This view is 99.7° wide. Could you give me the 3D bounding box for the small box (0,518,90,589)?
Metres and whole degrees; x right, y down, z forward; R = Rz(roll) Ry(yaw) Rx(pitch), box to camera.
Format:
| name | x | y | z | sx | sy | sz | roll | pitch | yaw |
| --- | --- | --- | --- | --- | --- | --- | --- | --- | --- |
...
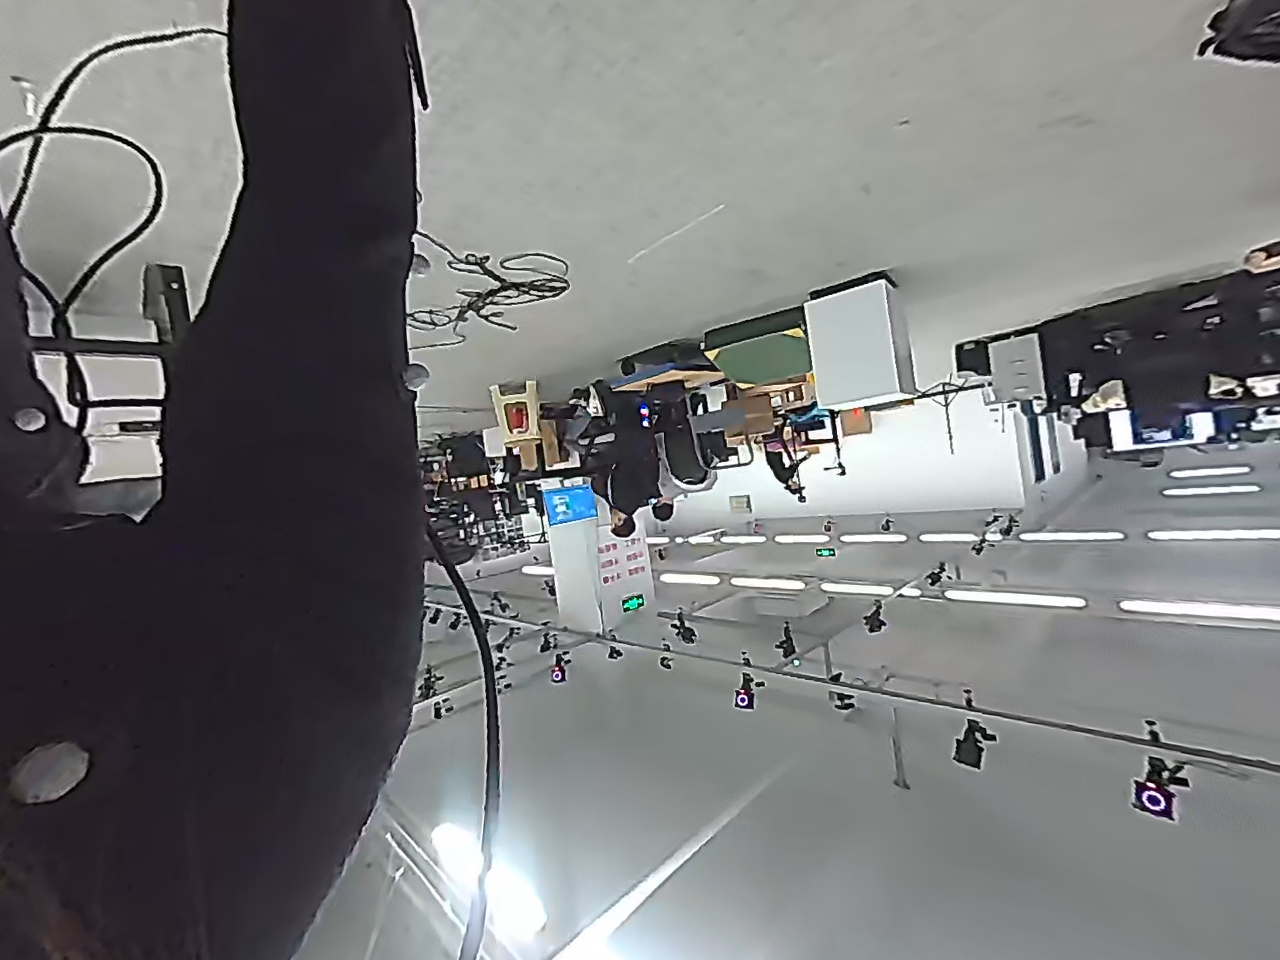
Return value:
| name | x | y | z | sx | sy | sz | roll | pitch | yaw |
| --- | --- | --- | --- | --- | --- | --- | --- | --- | --- |
| small box | -1.650 | 0.196 | 1.479 | 0.168 | 0.176 | 0.179 | -9 | -179 | -34 |
